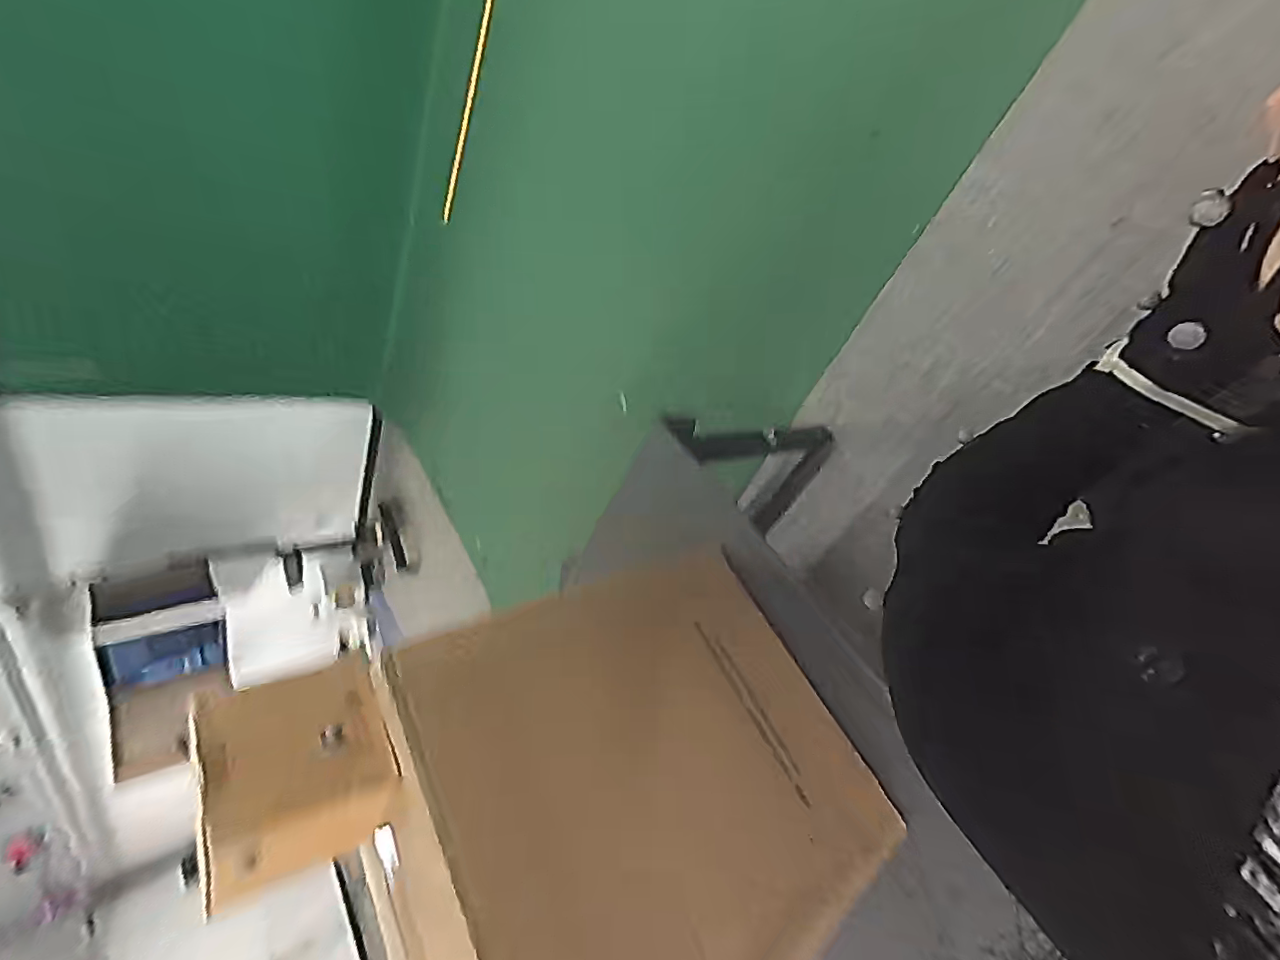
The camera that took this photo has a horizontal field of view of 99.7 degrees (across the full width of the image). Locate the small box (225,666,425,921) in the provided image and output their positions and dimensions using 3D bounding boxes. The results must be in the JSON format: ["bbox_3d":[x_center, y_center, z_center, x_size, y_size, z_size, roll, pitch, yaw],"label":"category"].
[{"bbox_3d":[-0.366,0.350,0.628,0.168,0.176,0.179,50,128,33],"label":"small box"}]
